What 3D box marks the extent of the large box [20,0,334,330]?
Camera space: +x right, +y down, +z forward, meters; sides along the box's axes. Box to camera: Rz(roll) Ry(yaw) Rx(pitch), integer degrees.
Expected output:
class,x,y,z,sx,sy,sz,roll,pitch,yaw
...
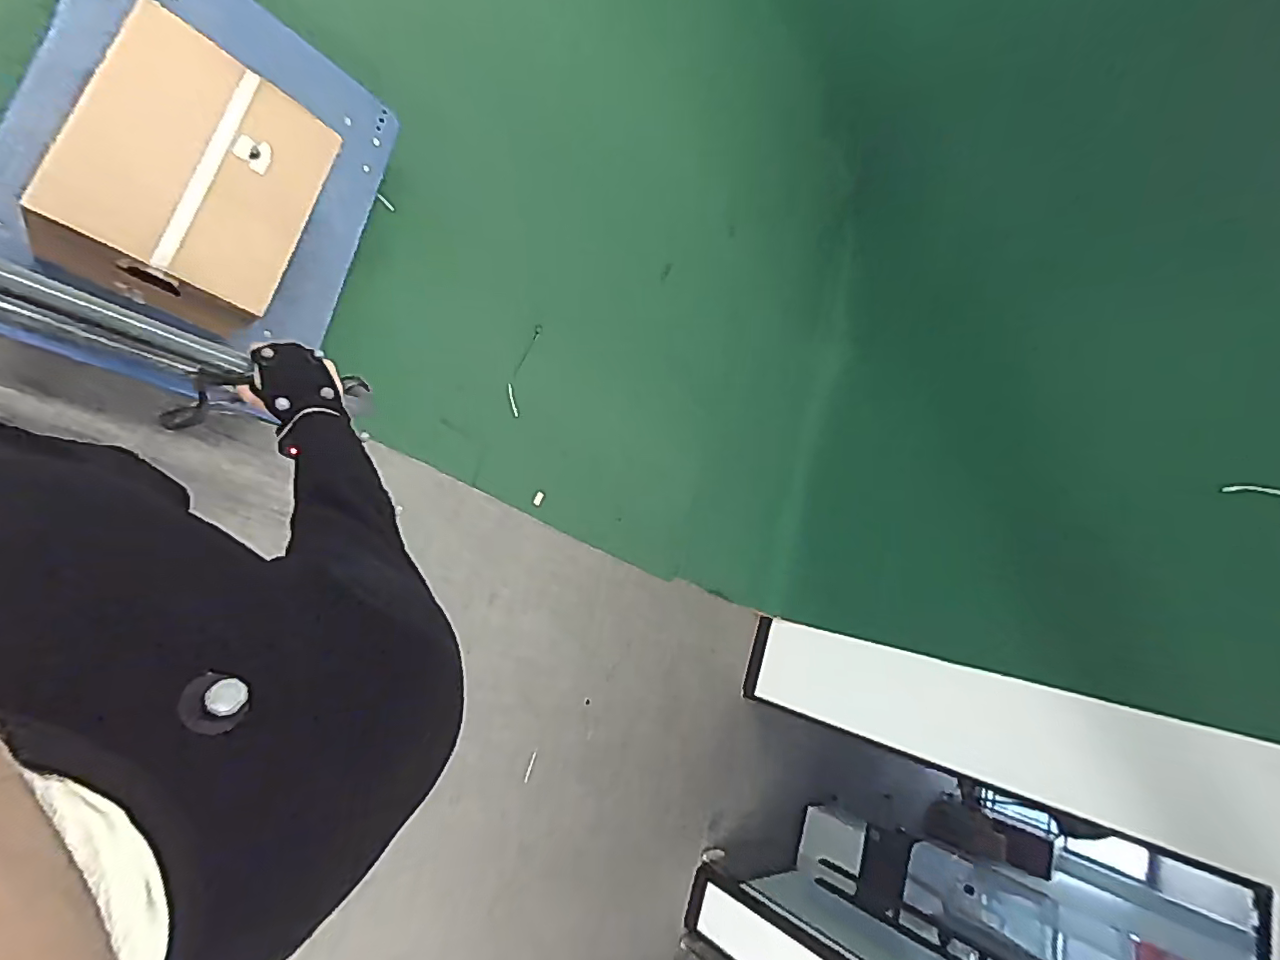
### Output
class,x,y,z,sx,sy,sz,roll,pitch,yaw
large box,-0.852,-0.553,1.021,0.320,0.320,0.408,27,74,-44
